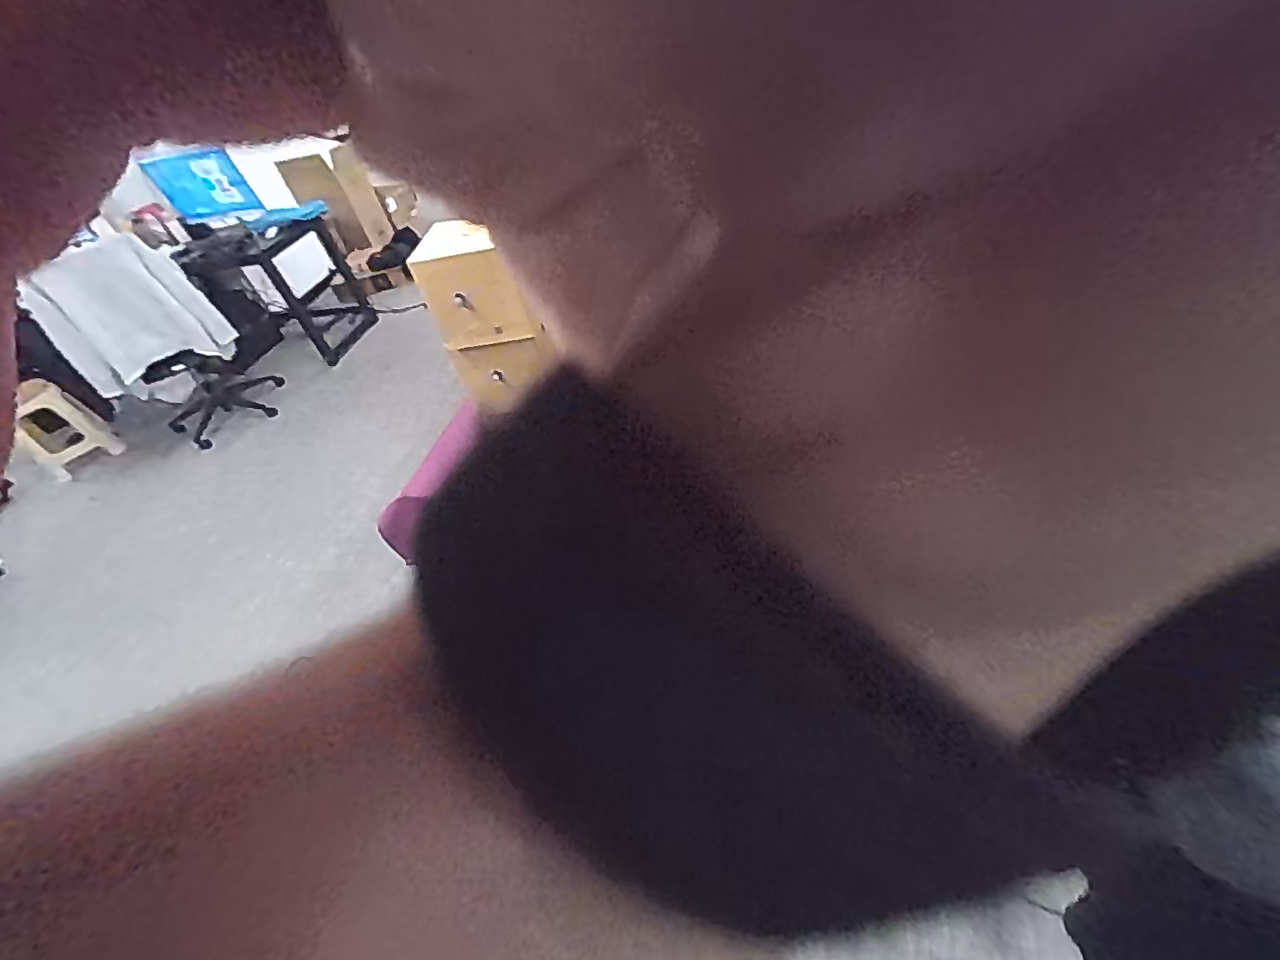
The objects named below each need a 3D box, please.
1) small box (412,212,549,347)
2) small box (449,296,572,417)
[{"bbox_3d":[-0.273,-0.353,0.975,0.168,0.176,0.179,-7,43,8],"label":"small box"},{"bbox_3d":[-0.249,-0.246,1.095,0.179,0.176,0.168,-5,44,11],"label":"small box"}]
